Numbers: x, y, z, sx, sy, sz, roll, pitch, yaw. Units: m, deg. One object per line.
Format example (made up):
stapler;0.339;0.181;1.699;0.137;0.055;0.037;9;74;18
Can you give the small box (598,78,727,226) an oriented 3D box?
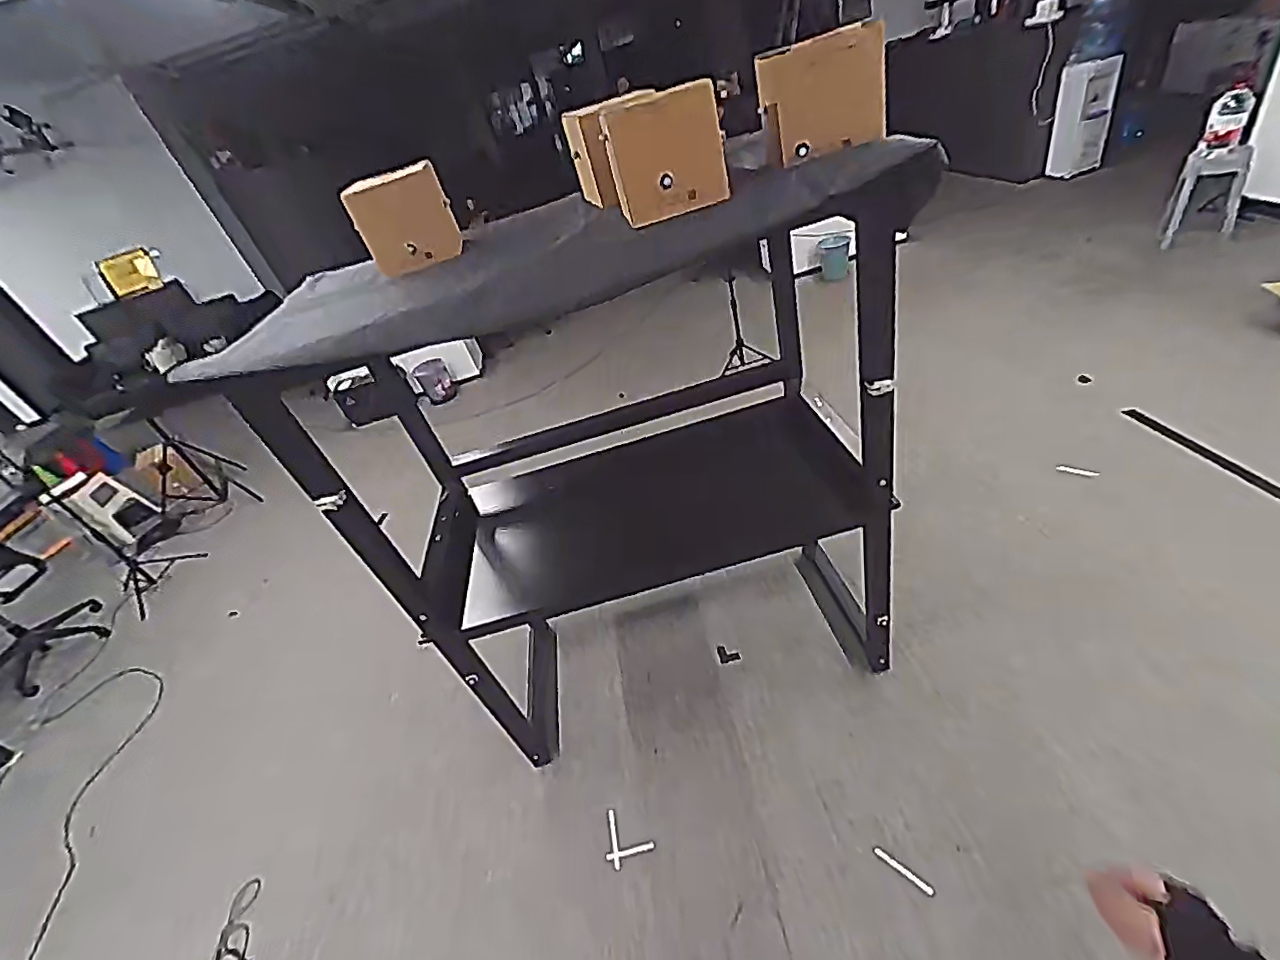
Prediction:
small box;0.035;-0.541;0.901;0.168;0.176;0.179;-17;35;3

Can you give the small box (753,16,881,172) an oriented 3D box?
small box;0.295;-0.635;0.905;0.168;0.176;0.179;-12;35;10

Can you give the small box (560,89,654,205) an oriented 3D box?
small box;-0.053;-0.698;1.141;0.168;0.176;0.179;-23;36;-5
